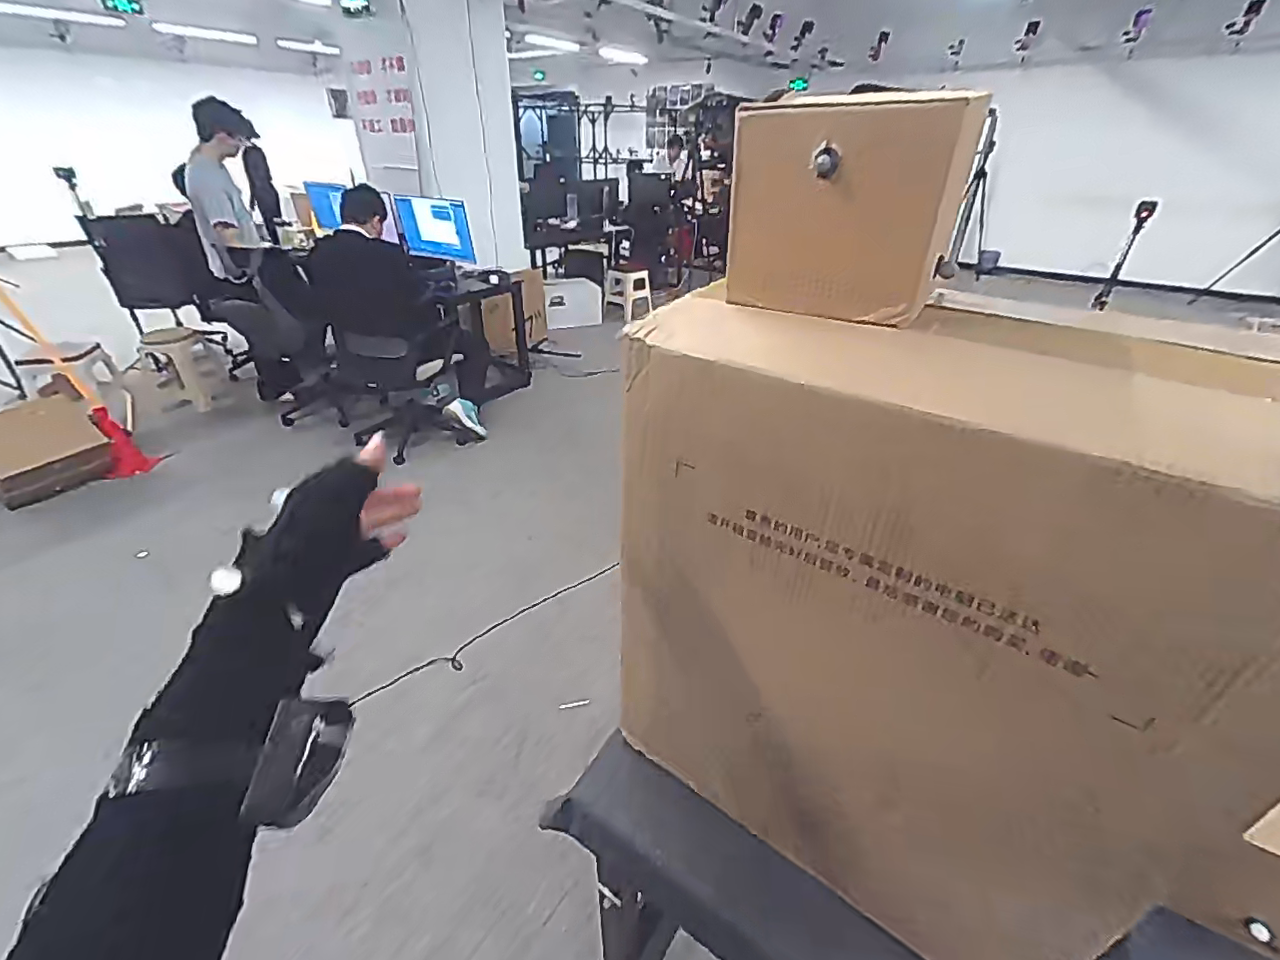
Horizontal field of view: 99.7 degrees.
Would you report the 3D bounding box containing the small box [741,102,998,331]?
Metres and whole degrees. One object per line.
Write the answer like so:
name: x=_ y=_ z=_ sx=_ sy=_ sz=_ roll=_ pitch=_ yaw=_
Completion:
small box: x=0.208 y=-0.255 z=0.517 sx=0.179 sy=0.176 sz=0.168 roll=20 pitch=42 yaw=26
